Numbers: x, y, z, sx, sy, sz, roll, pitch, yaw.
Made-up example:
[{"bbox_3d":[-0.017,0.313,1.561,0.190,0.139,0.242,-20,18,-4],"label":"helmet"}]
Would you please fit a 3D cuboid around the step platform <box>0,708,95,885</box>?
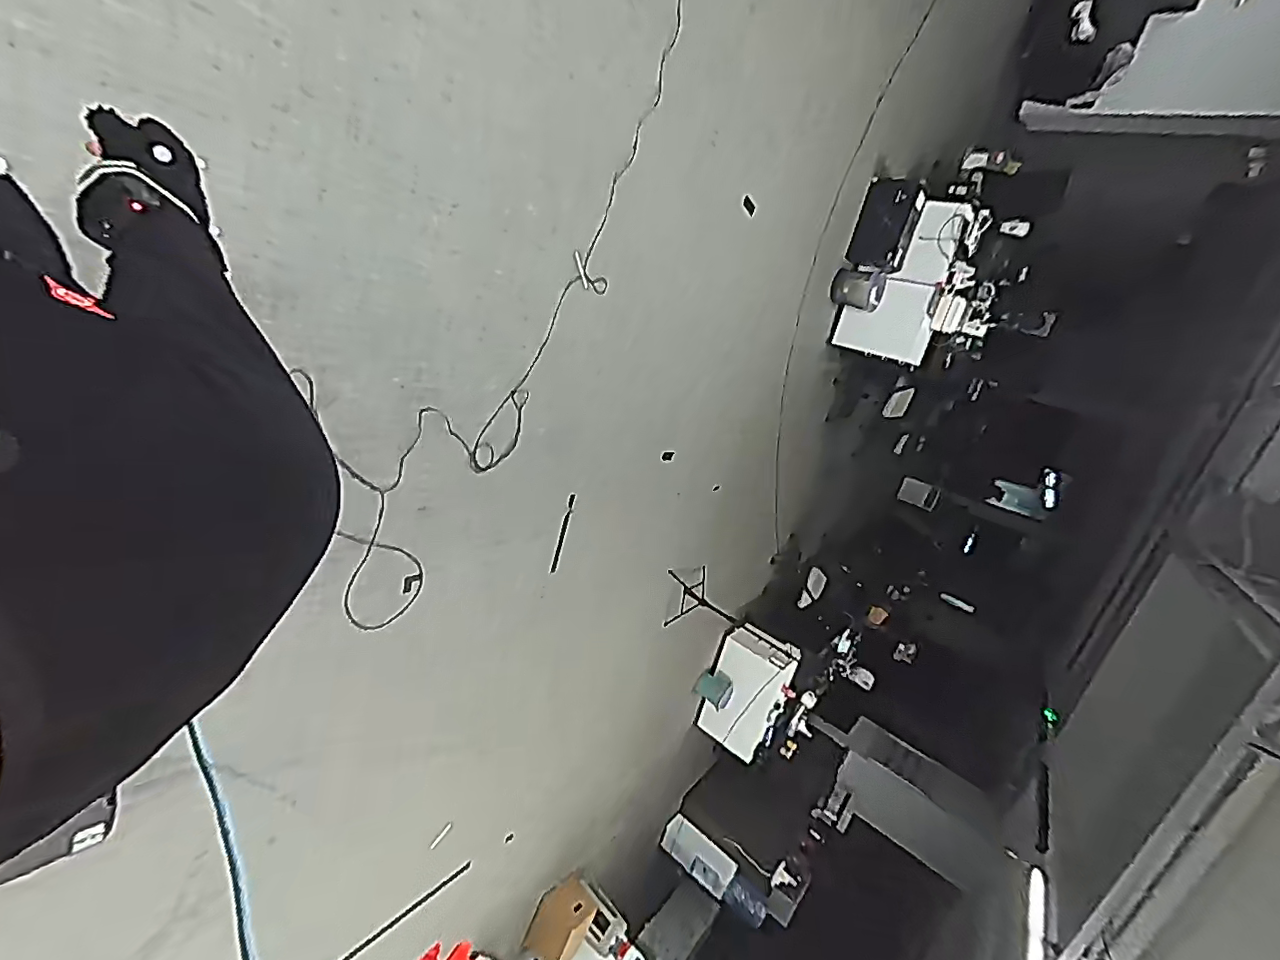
[{"bbox_3d":[-1.493,0.716,1.000,0.684,0.204,0.286,-10,119,-51],"label":"step platform"}]
